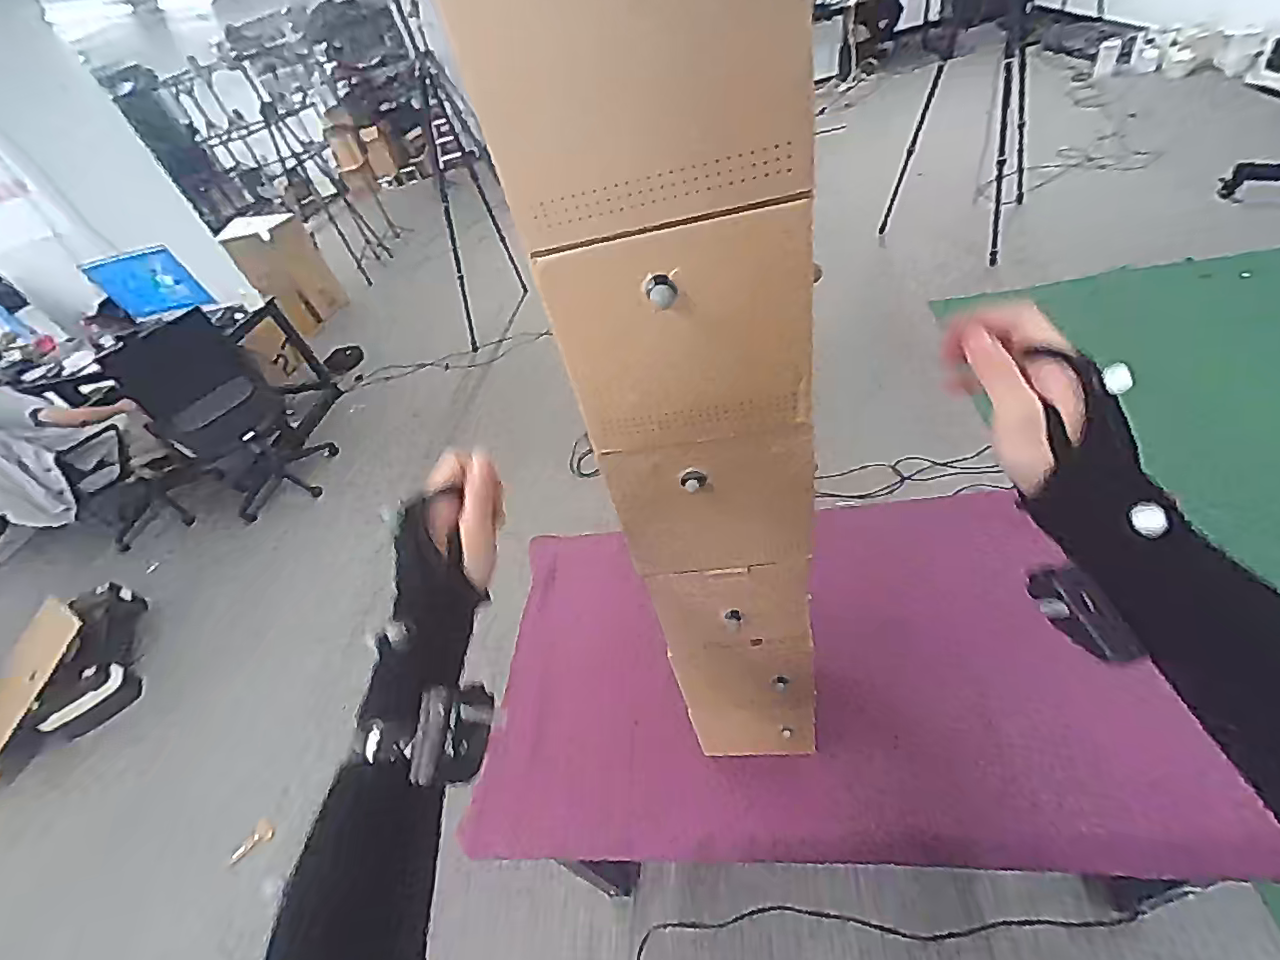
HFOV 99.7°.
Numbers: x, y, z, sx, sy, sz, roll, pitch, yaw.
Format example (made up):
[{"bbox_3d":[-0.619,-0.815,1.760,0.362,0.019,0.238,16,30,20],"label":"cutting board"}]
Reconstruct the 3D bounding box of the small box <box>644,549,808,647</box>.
[{"bbox_3d":[0.105,0.087,0.651,0.168,0.176,0.179,-7,43,11],"label":"small box"}]

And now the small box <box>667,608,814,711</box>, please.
[{"bbox_3d":[0.142,0.207,0.754,0.179,0.176,0.168,-7,43,13],"label":"small box"}]

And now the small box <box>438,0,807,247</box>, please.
[{"bbox_3d":[0.002,-0.265,0.324,0.179,0.176,0.168,-7,42,12],"label":"small box"}]

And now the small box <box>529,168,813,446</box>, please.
[{"bbox_3d":[0.036,-0.147,0.433,0.179,0.176,0.168,-8,42,12],"label":"small box"}]

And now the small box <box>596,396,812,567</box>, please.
[{"bbox_3d":[0.069,-0.028,0.539,0.179,0.176,0.168,-7,43,10],"label":"small box"}]
